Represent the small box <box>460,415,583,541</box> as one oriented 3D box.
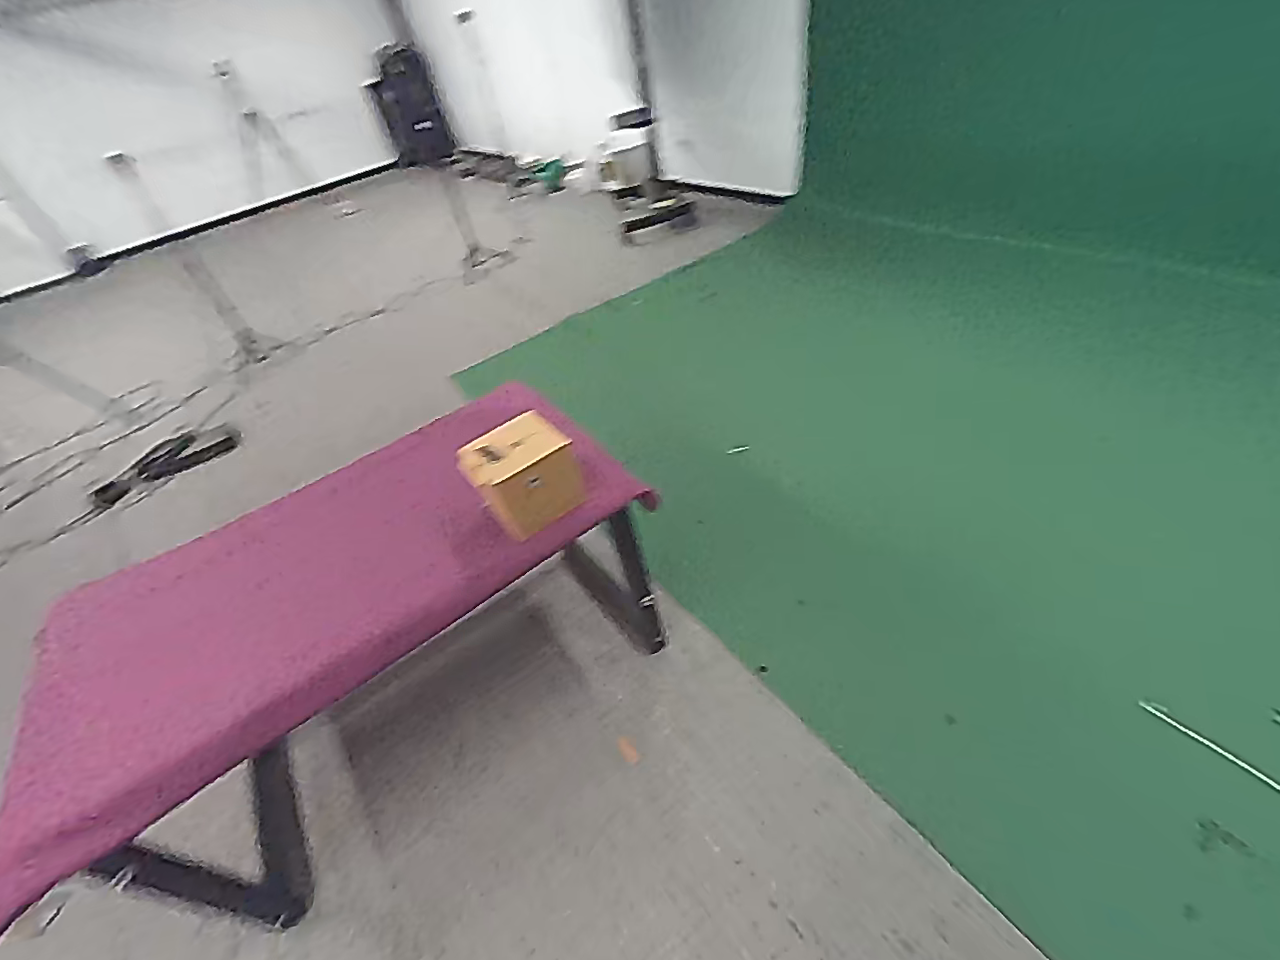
[{"bbox_3d":[-0.247,-0.002,1.151,0.179,0.176,0.168,-34,46,-21],"label":"small box"}]
